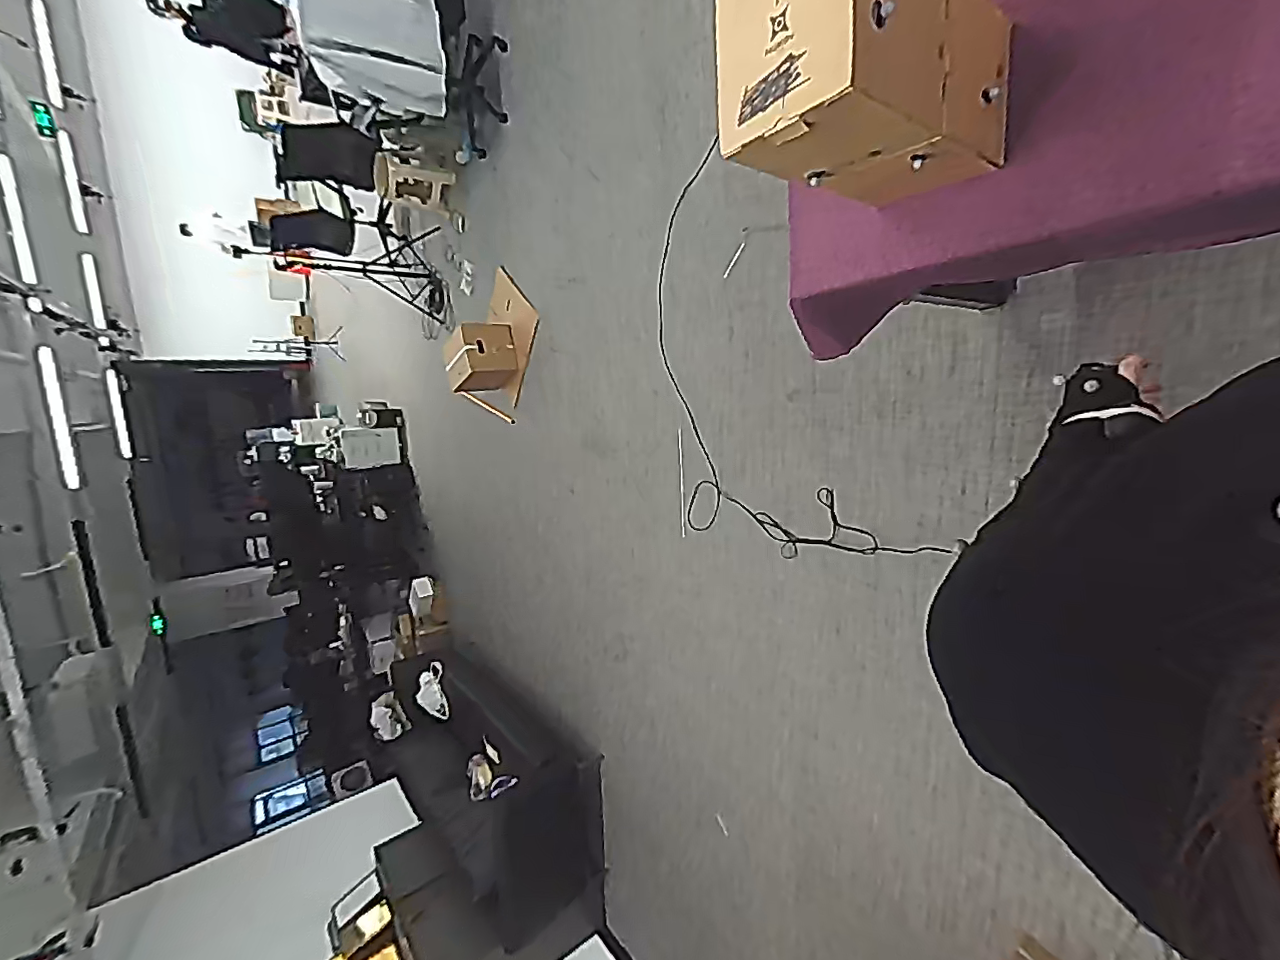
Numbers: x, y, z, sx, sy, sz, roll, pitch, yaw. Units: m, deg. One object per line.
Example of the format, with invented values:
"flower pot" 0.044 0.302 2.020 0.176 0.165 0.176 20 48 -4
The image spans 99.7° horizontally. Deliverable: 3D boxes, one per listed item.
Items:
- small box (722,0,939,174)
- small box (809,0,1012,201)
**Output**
"small box" 0.209 -0.463 0.597 0.168 0.176 0.179 7 102 52
"small box" 0.341 -0.479 0.694 0.179 0.176 0.168 9 104 52
